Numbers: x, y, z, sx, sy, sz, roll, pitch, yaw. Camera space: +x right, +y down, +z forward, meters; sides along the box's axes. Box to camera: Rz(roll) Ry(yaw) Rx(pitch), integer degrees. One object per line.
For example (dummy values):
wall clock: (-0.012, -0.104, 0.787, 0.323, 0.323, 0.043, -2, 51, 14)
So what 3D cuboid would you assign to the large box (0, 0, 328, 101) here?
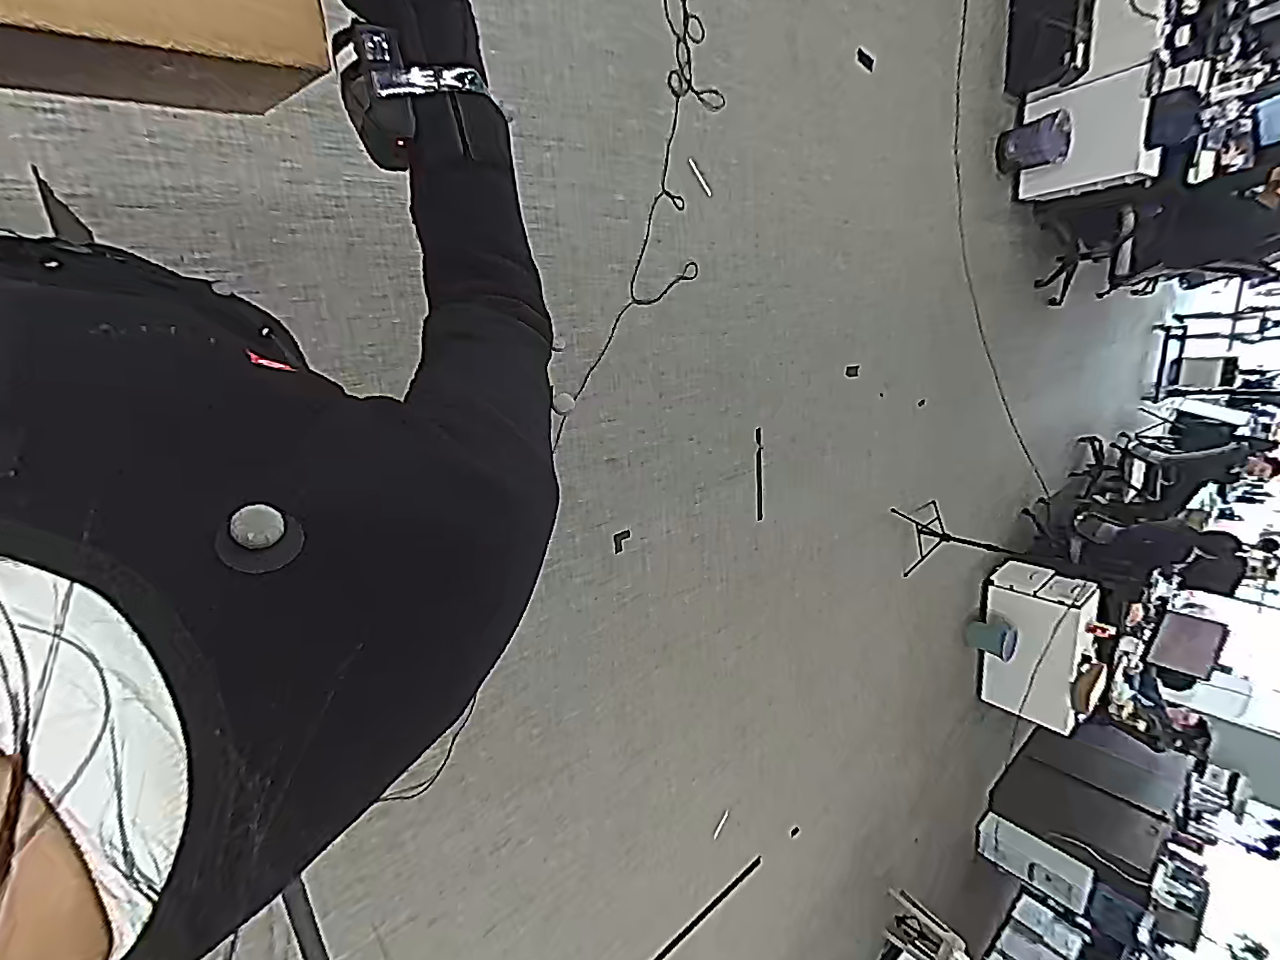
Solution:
large box: (-0.438, -0.400, 0.259, 0.408, 0.320, 0.320, -19, 126, -35)
